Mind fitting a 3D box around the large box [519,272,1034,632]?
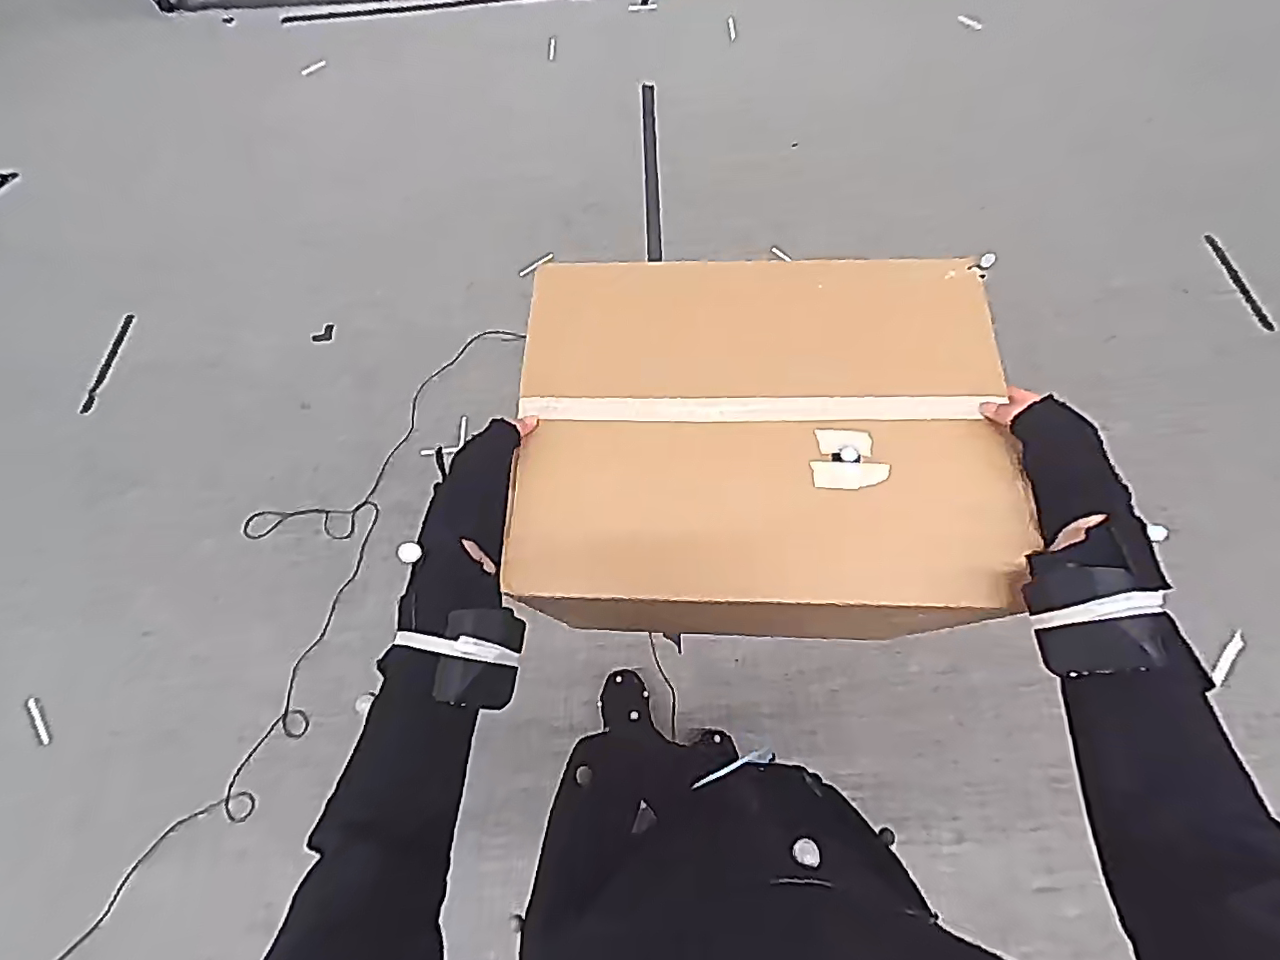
[{"bbox_3d":[0.107,-0.002,0.604,0.408,0.320,0.320,1,71,3],"label":"large box"}]
